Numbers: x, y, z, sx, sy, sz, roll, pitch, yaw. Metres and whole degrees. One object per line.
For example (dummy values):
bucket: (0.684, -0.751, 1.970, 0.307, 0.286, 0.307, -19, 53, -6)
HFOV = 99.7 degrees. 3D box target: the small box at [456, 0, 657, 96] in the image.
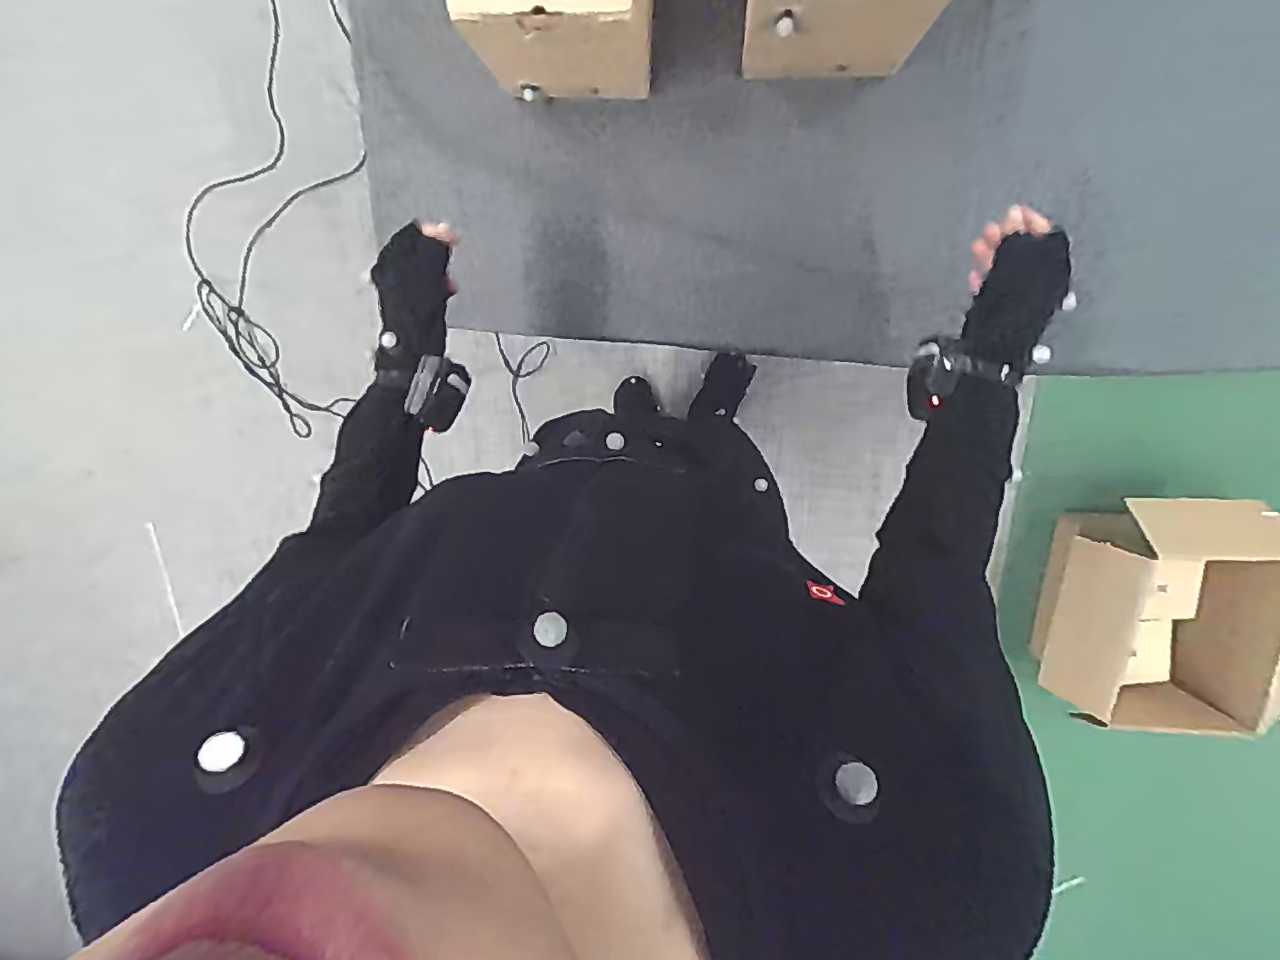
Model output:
small box: (-0.070, -0.506, 0.530, 0.168, 0.176, 0.179, 4, 104, 5)
